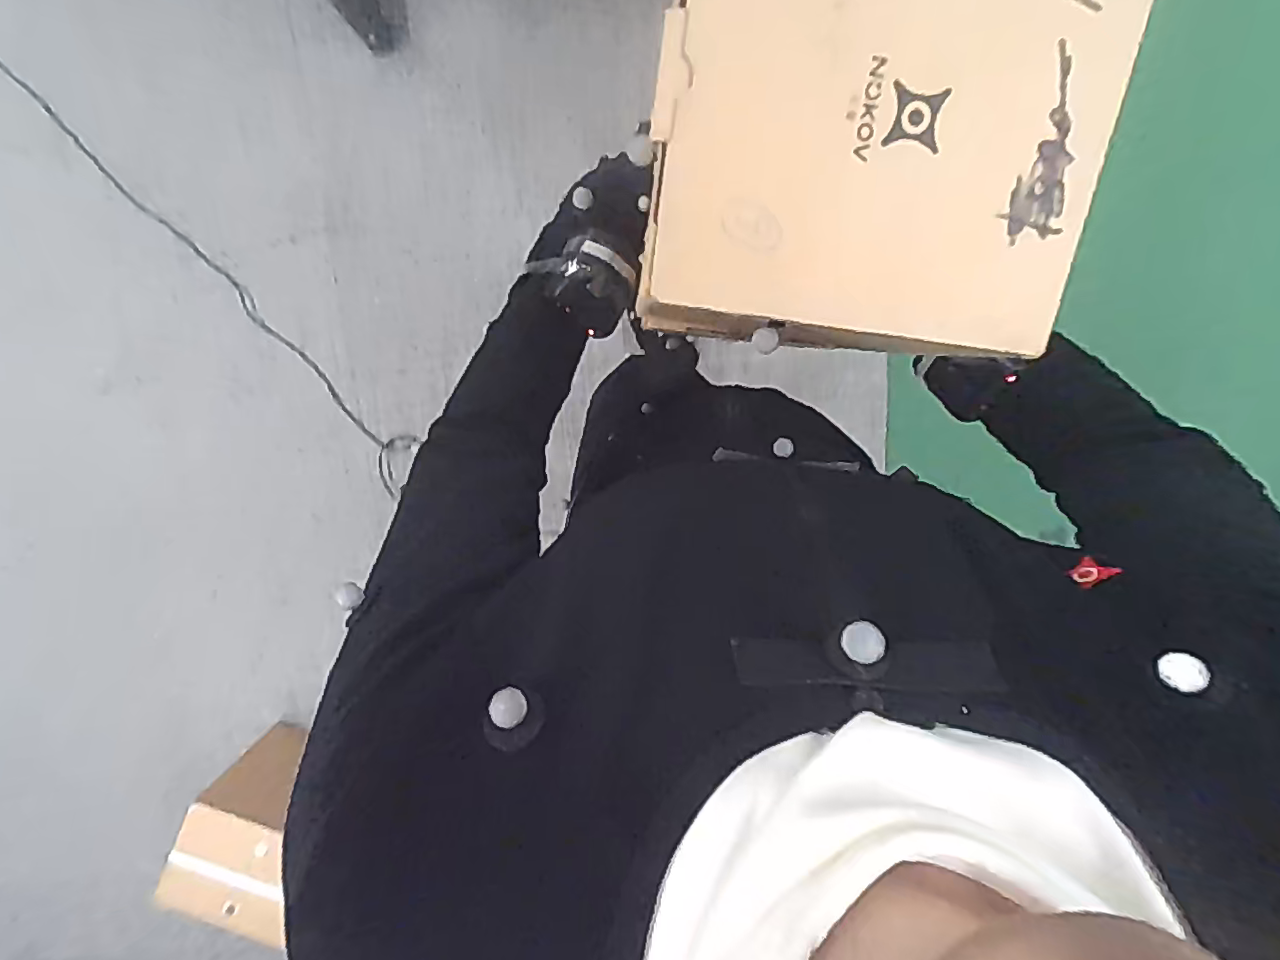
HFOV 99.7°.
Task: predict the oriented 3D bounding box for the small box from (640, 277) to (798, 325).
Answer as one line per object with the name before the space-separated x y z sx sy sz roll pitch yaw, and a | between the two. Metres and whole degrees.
small box | 0.092 -0.275 0.601 0.168 0.176 0.179 9 106 -2

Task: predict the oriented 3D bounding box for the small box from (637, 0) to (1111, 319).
small box | 0.092 -0.182 0.289 0.179 0.176 0.168 5 102 -2
